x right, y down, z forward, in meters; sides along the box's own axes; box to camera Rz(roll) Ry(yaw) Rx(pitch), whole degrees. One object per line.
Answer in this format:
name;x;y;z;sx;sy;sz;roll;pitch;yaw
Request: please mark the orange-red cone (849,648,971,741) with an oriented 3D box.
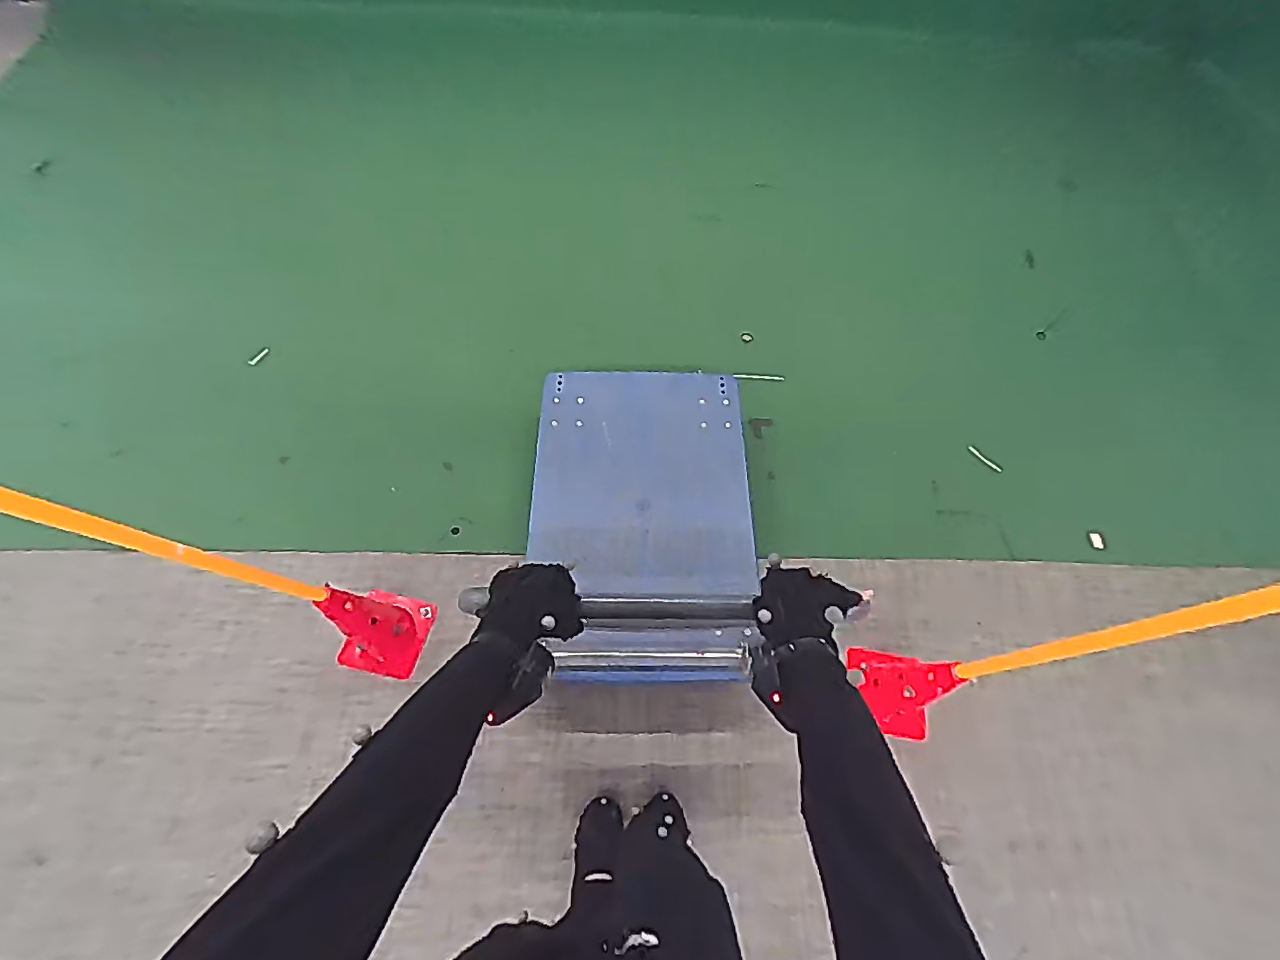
orange-red cone;0.634;0.460;1.221;0.198;0.360;0.199;11;63;4
